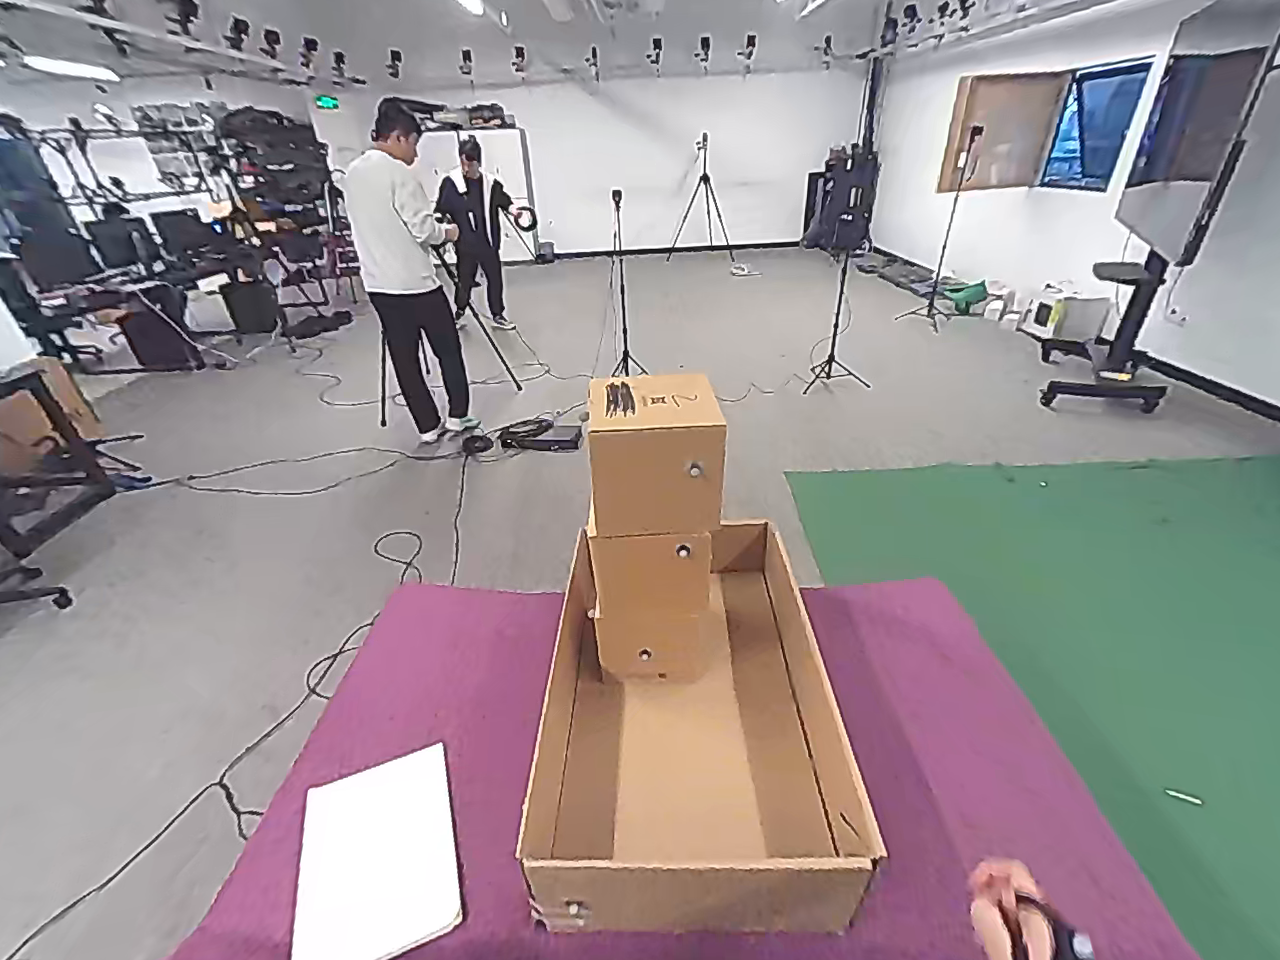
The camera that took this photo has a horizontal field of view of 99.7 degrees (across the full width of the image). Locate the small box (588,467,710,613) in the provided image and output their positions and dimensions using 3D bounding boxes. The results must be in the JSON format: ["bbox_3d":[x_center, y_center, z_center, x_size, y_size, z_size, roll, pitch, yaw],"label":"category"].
[{"bbox_3d":[0.016,0.095,0.862,0.179,0.176,0.168,-3,34,0],"label":"small box"}]

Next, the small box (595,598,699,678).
[{"bbox_3d":[0.018,0.229,0.953,0.168,0.176,0.179,-1,34,3],"label":"small box"}]
